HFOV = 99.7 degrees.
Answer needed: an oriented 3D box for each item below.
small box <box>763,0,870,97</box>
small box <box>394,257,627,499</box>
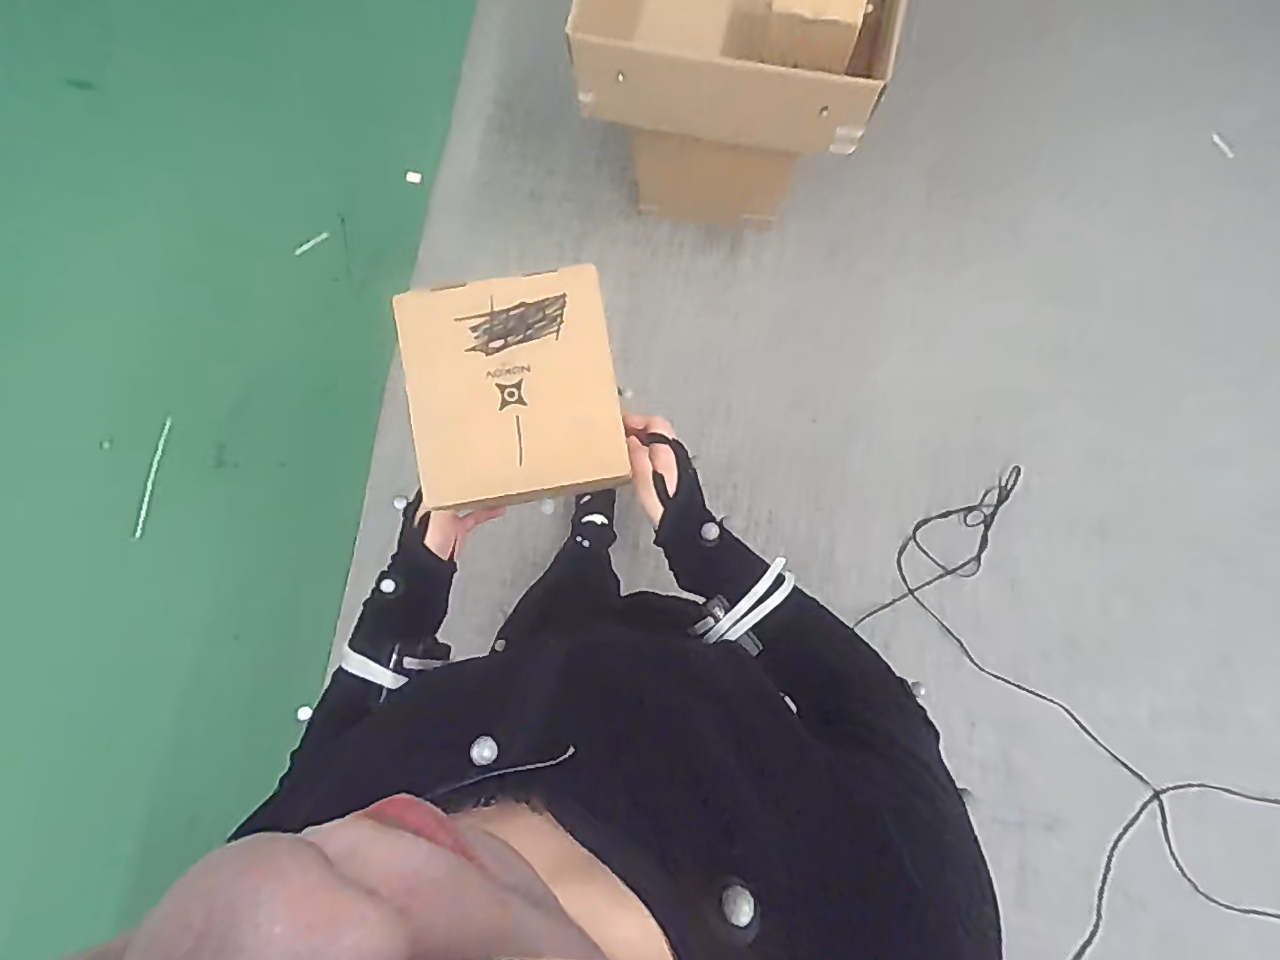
[{"bbox_3d":[0.347,-0.904,1.057,0.168,0.176,0.179,14,85,5],"label":"small box"},{"bbox_3d":[-0.106,-0.080,0.511,0.168,0.176,0.179,-9,88,0],"label":"small box"}]
